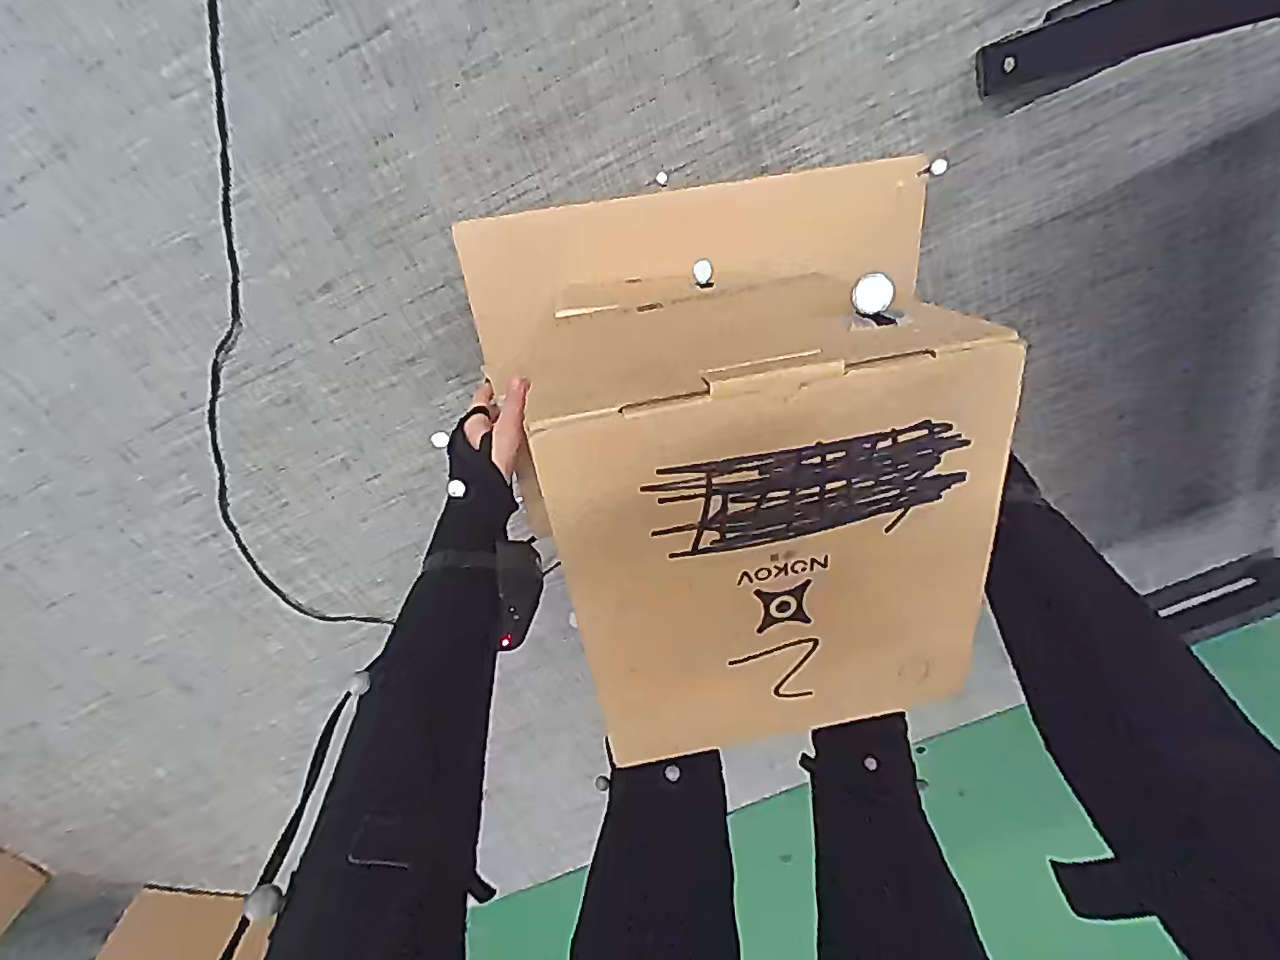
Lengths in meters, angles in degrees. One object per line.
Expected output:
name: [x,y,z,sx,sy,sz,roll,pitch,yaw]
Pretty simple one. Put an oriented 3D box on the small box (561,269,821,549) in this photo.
small box: [0.026,-0.069,0.432,0.168,0.176,0.179,-6,117,-4]
